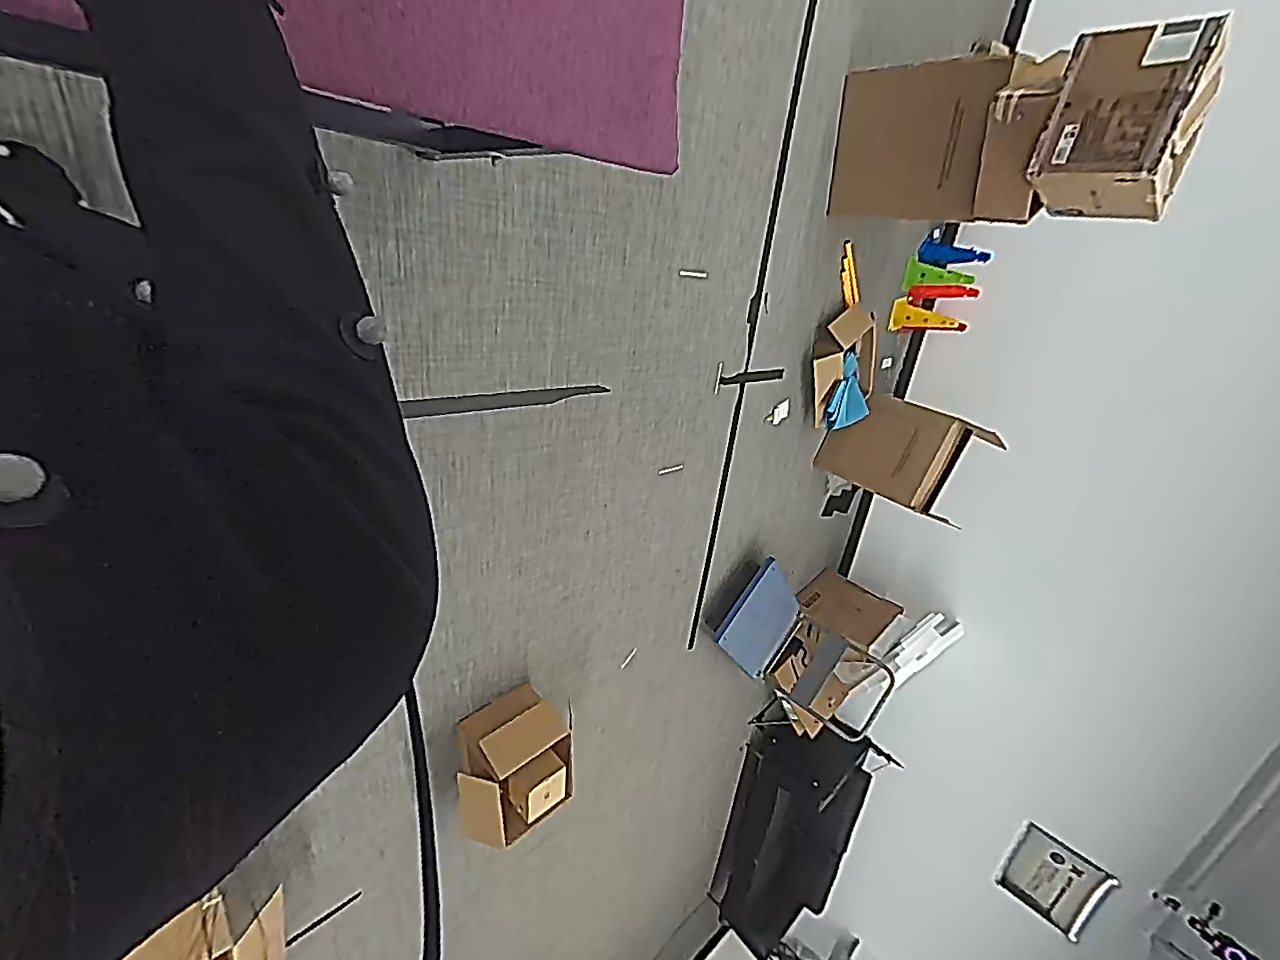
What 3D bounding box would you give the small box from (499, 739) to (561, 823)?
[{"bbox_3d":[-0.415,1.118,2.020,0.168,0.176,0.179,-18,123,-42],"label":"small box"}]
